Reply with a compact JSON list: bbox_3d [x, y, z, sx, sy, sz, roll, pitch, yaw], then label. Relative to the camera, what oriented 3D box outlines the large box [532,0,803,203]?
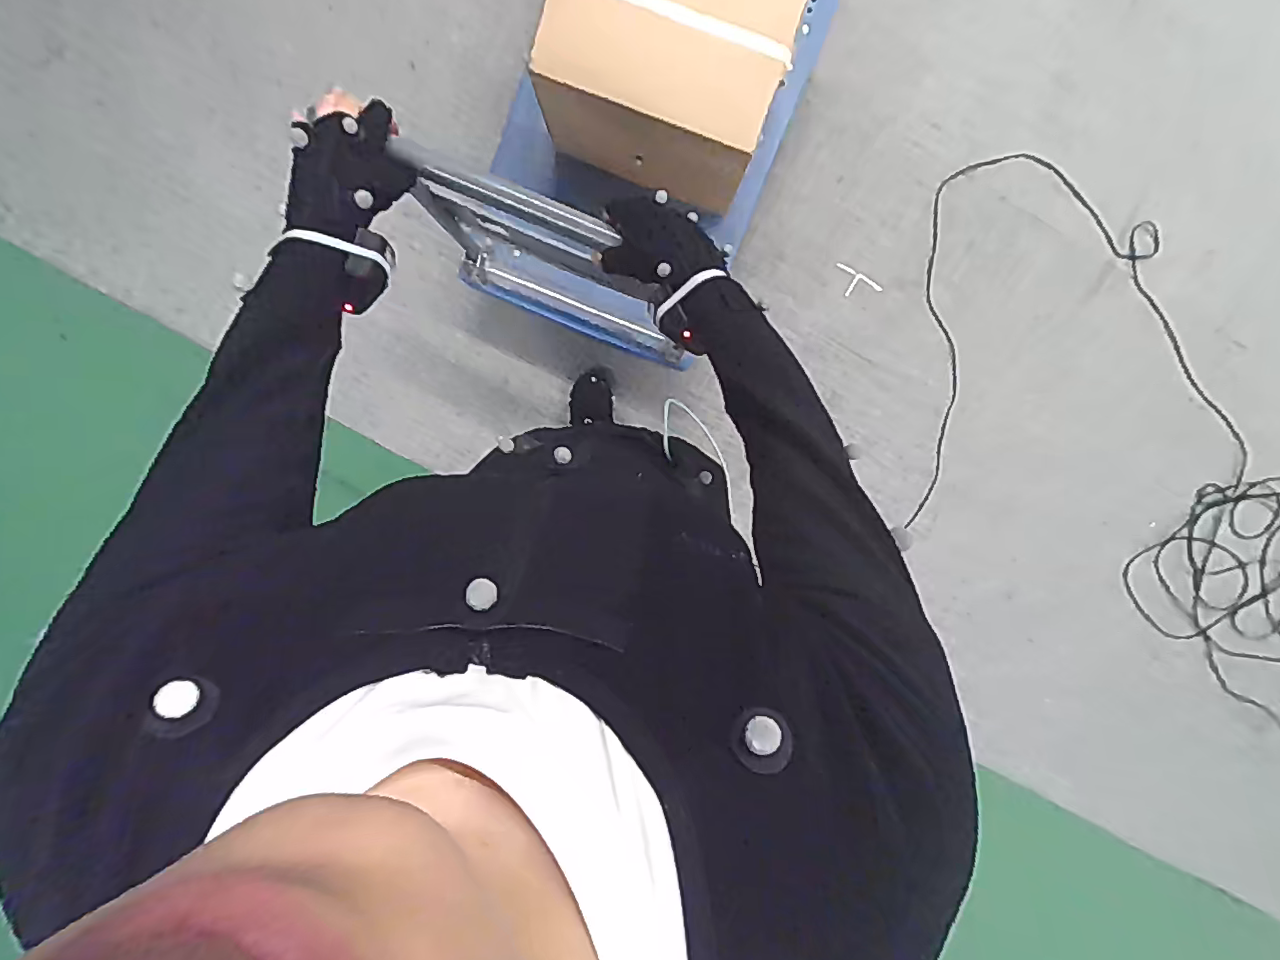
[{"bbox_3d":[0.056,-0.795,1.037,0.408,0.320,0.320,19,98,-2],"label":"large box"}]
